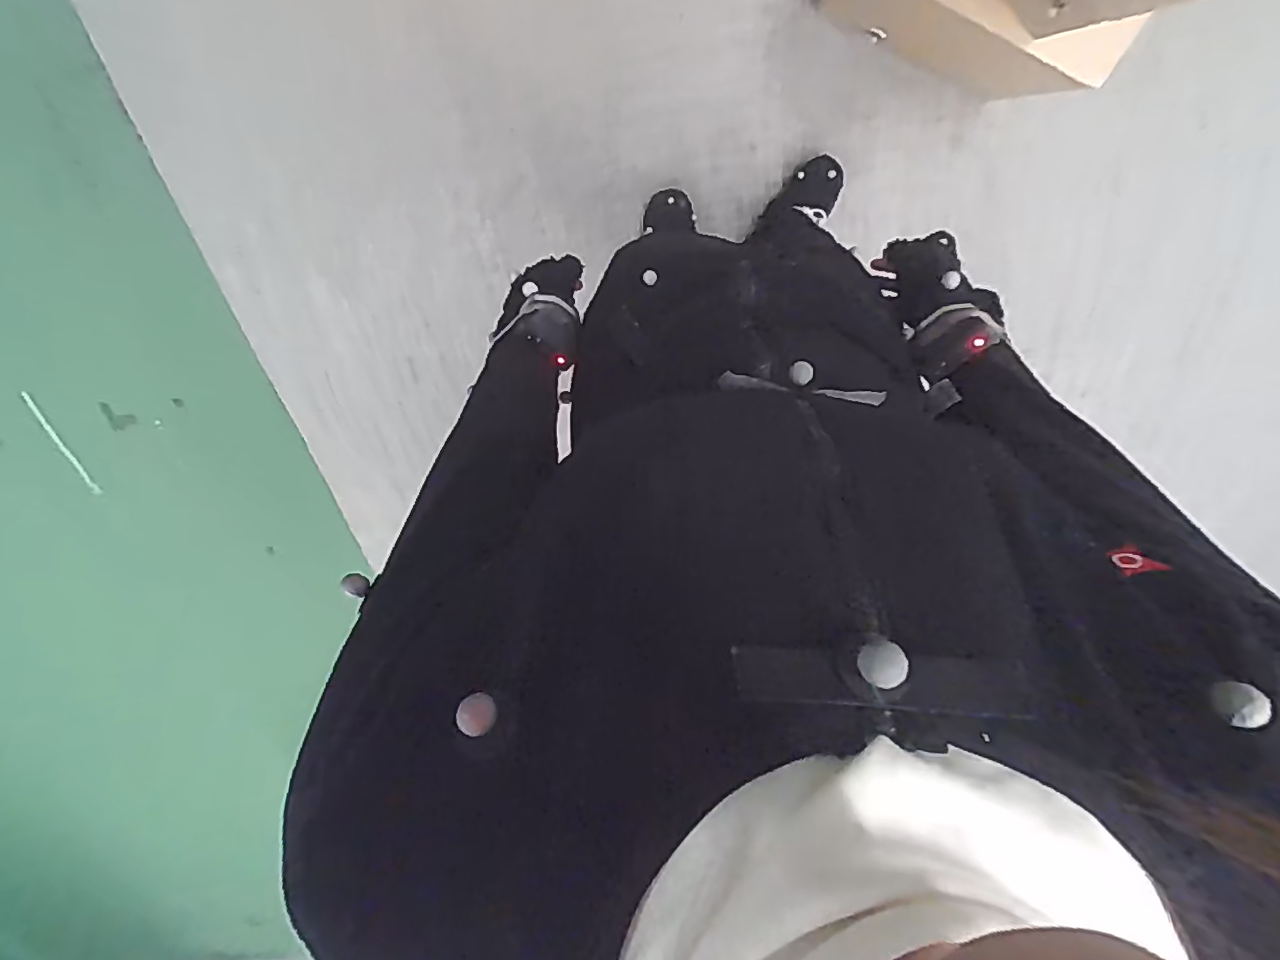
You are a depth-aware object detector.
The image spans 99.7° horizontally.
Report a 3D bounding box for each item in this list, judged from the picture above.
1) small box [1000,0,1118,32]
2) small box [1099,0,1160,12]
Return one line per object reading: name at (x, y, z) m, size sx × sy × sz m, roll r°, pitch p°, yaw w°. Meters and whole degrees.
small box at (0.563, -0.710, 0.677) m, size 0.179 × 0.176 × 0.168 m, roll 33°, pitch 115°, yaw -17°
small box at (0.559, -0.622, 0.538) m, size 0.168 × 0.176 × 0.179 m, roll 29°, pitch 118°, yaw -17°
